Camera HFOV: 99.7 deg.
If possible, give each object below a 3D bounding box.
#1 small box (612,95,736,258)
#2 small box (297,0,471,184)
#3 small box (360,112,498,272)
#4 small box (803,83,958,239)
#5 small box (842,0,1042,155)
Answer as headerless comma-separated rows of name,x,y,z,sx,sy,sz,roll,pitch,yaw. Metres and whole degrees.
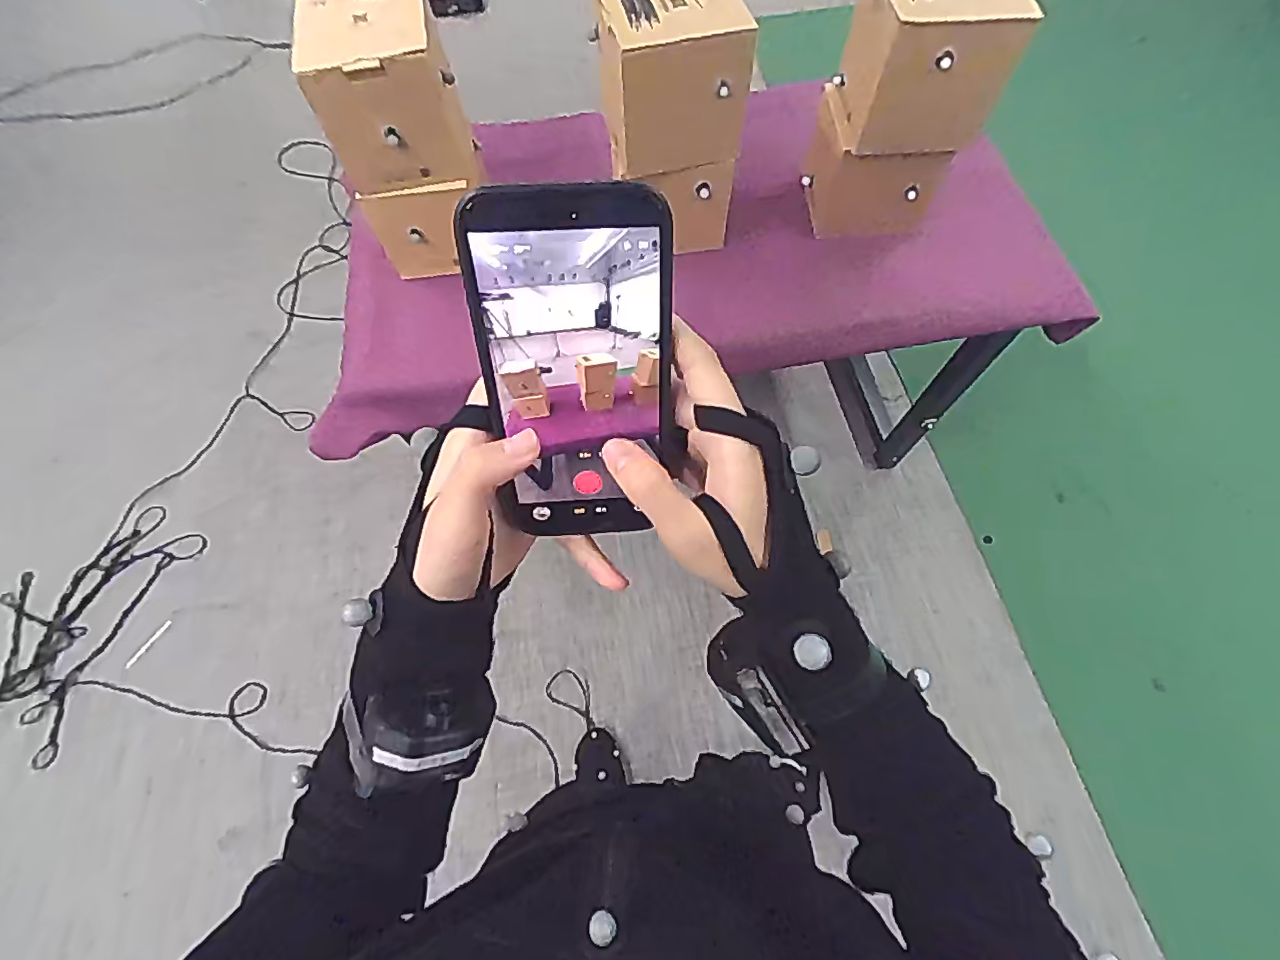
small box,0.050,-0.499,0.903,0.179,0.176,0.168,-7,66,-1
small box,-0.346,-0.543,0.758,0.168,0.176,0.179,-11,67,-3
small box,-0.340,-0.470,0.905,0.168,0.176,0.179,-6,66,-1
small box,0.389,-0.527,0.906,0.179,0.176,0.168,-1,66,2
small box,0.395,-0.580,0.750,0.179,0.176,0.168,-1,66,1
